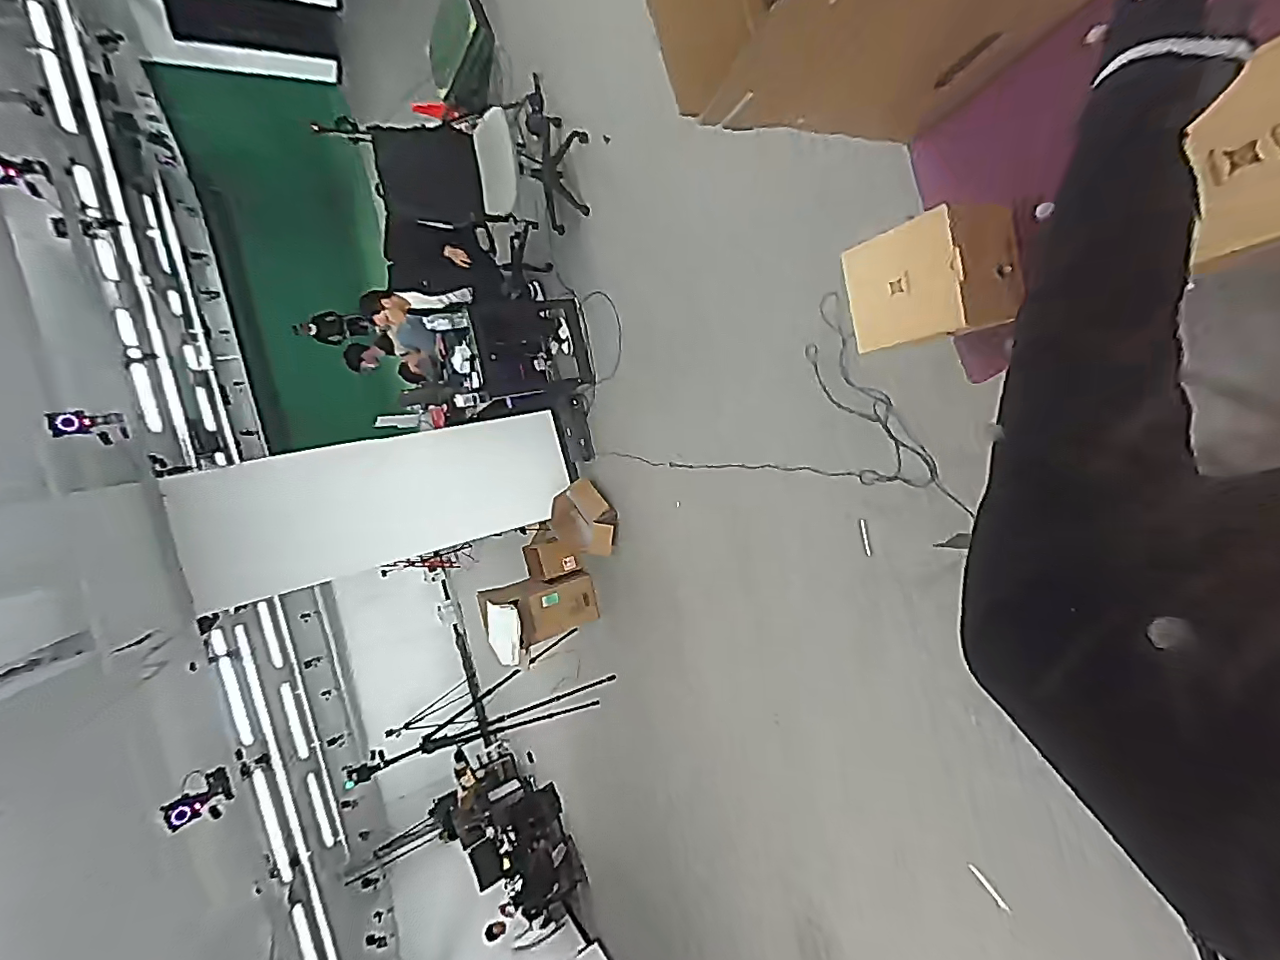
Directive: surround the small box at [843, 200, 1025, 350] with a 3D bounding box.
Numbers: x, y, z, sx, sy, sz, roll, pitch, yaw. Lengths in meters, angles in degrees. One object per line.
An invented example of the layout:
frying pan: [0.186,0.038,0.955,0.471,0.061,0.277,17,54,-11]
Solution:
small box: [0.451,-0.307,0.835,0.179,0.176,0.168,-5,99,59]
